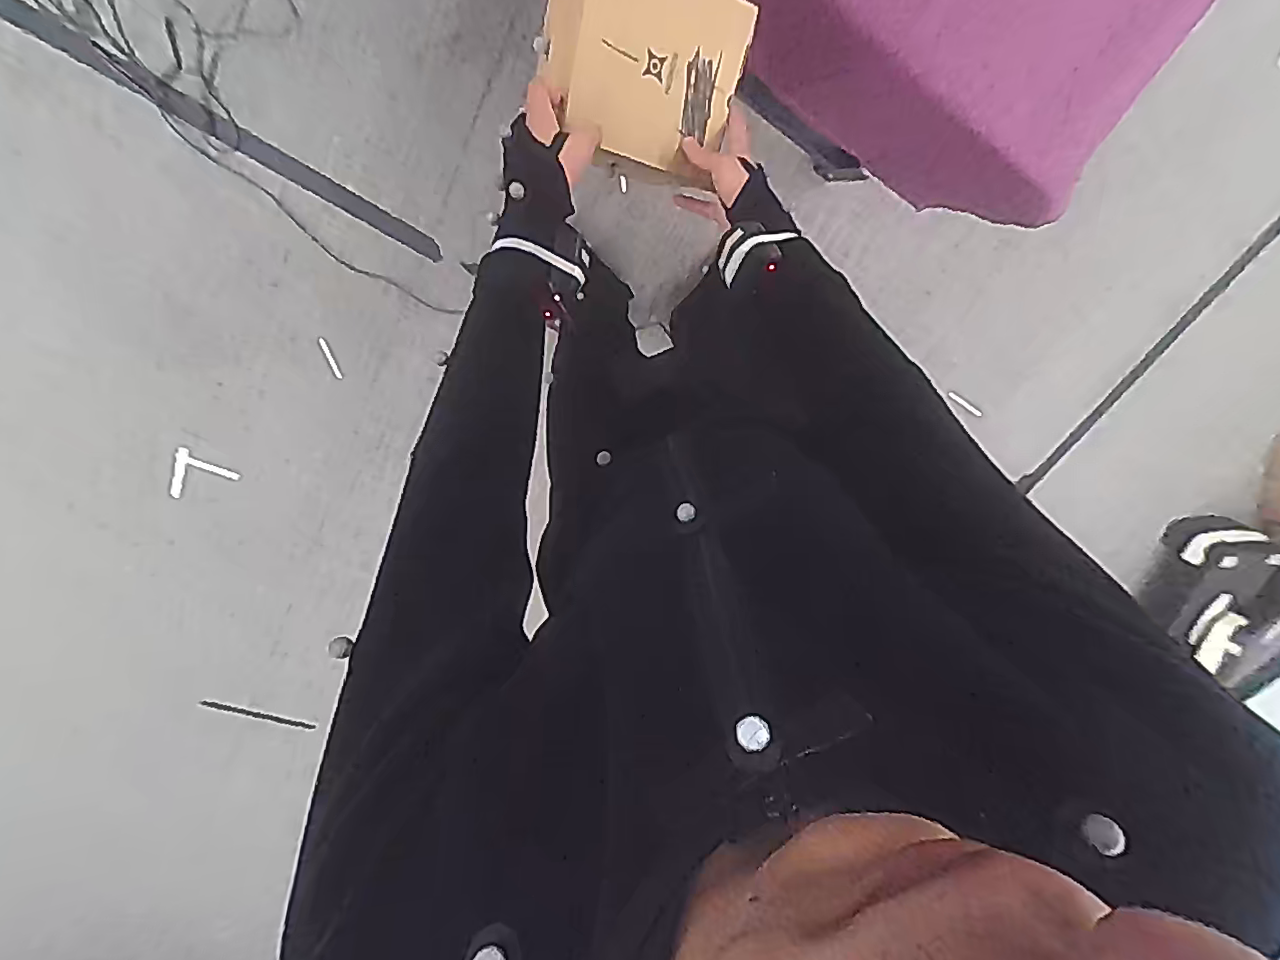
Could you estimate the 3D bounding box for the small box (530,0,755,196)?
[{"bbox_3d":[-0.010,-0.431,0.600,0.179,0.176,0.168,4,115,-25],"label":"small box"}]
